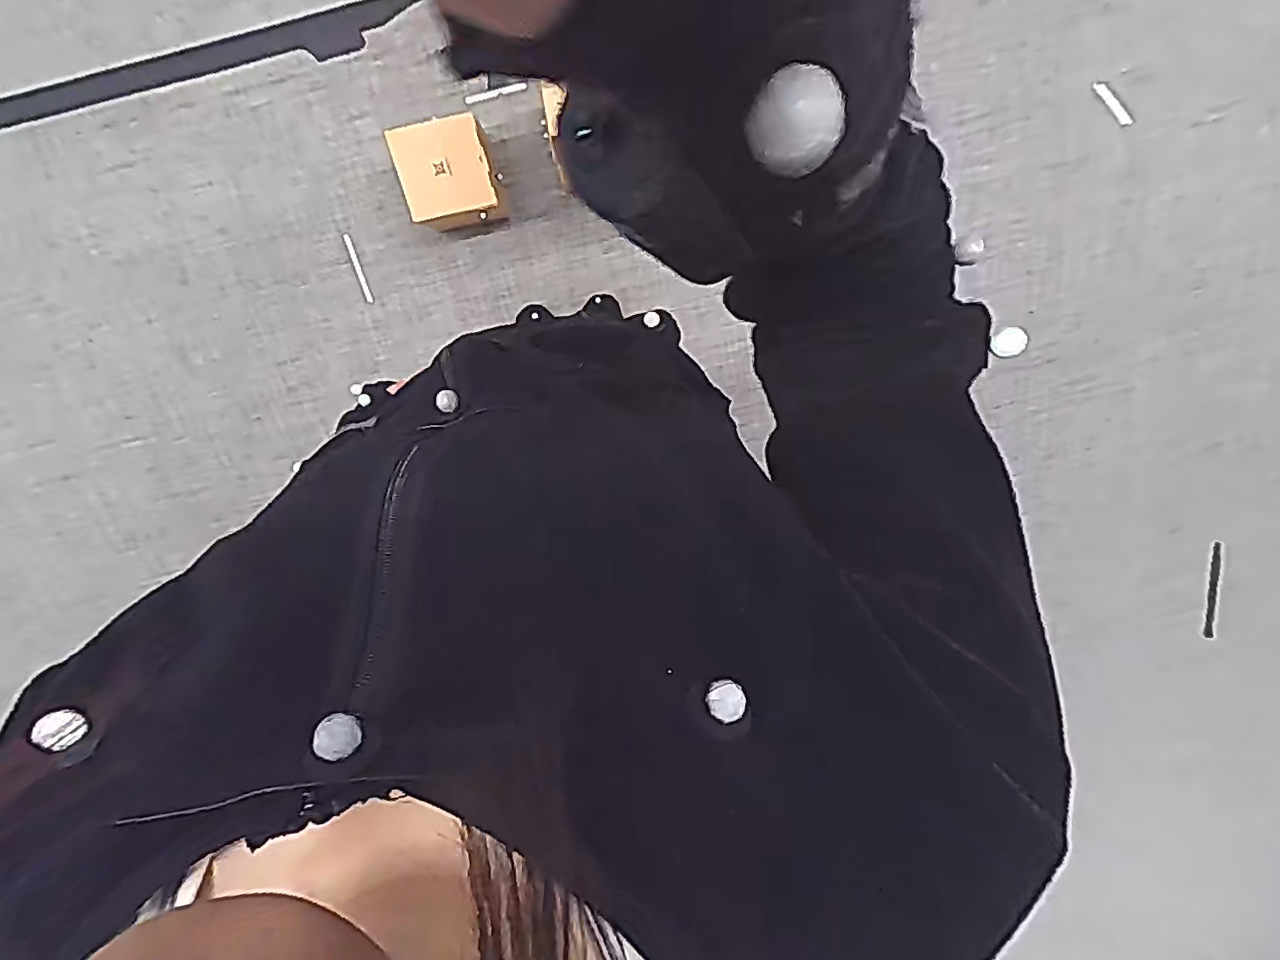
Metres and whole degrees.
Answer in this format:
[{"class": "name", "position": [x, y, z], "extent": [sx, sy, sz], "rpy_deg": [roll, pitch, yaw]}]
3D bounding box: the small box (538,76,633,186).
[{"class": "small box", "position": [-0.103, -0.730, 1.125], "extent": [0.168, 0.176, 0.179], "rpy_deg": [-15, 109, -1]}]

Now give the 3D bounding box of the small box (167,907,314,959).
[{"class": "small box", "position": [-0.634, 0.802, 0.825], "extent": [0.179, 0.176, 0.168], "rpy_deg": [-15, 109, 0]}]

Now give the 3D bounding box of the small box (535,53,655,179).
[{"class": "small box", "position": [-0.079, -0.662, 0.976], "extent": [0.179, 0.176, 0.168], "rpy_deg": [-13, 110, -2]}]

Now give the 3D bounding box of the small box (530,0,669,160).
[{"class": "small box", "position": [-0.062, -0.605, 0.823], "extent": [0.179, 0.176, 0.168], "rpy_deg": [-10, 110, -4]}]

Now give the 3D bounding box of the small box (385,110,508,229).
[{"class": "small box", "position": [-0.393, -0.637, 1.129], "extent": [0.179, 0.176, 0.168], "rpy_deg": [-14, 109, -1]}]
